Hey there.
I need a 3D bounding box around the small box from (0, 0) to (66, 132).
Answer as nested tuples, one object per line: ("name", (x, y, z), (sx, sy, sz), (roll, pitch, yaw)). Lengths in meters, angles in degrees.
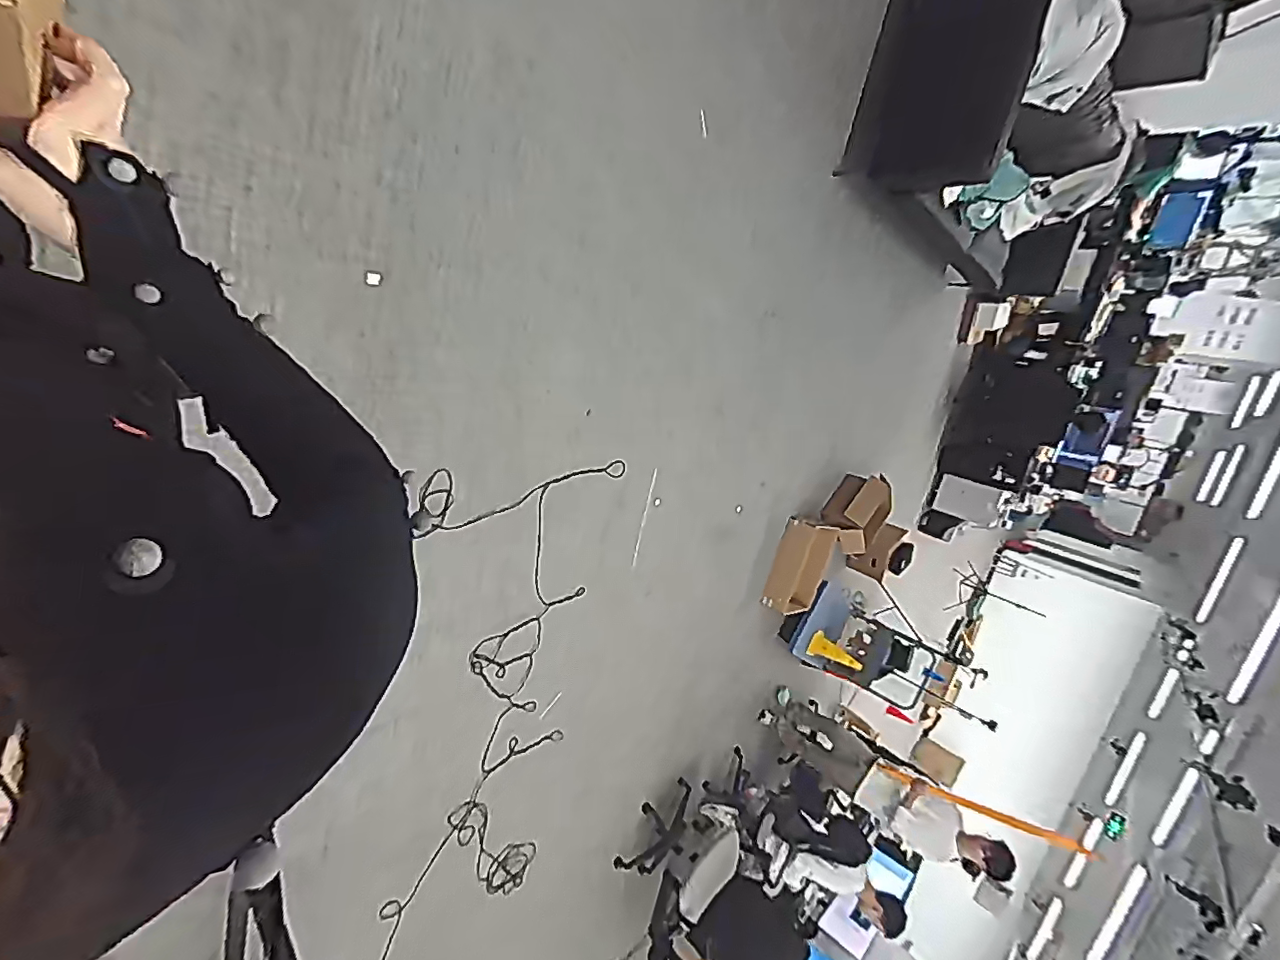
("small box", (-0.385, -0.298, 0.242), (0.179, 0.176, 0.168), (4, 86, -45))
